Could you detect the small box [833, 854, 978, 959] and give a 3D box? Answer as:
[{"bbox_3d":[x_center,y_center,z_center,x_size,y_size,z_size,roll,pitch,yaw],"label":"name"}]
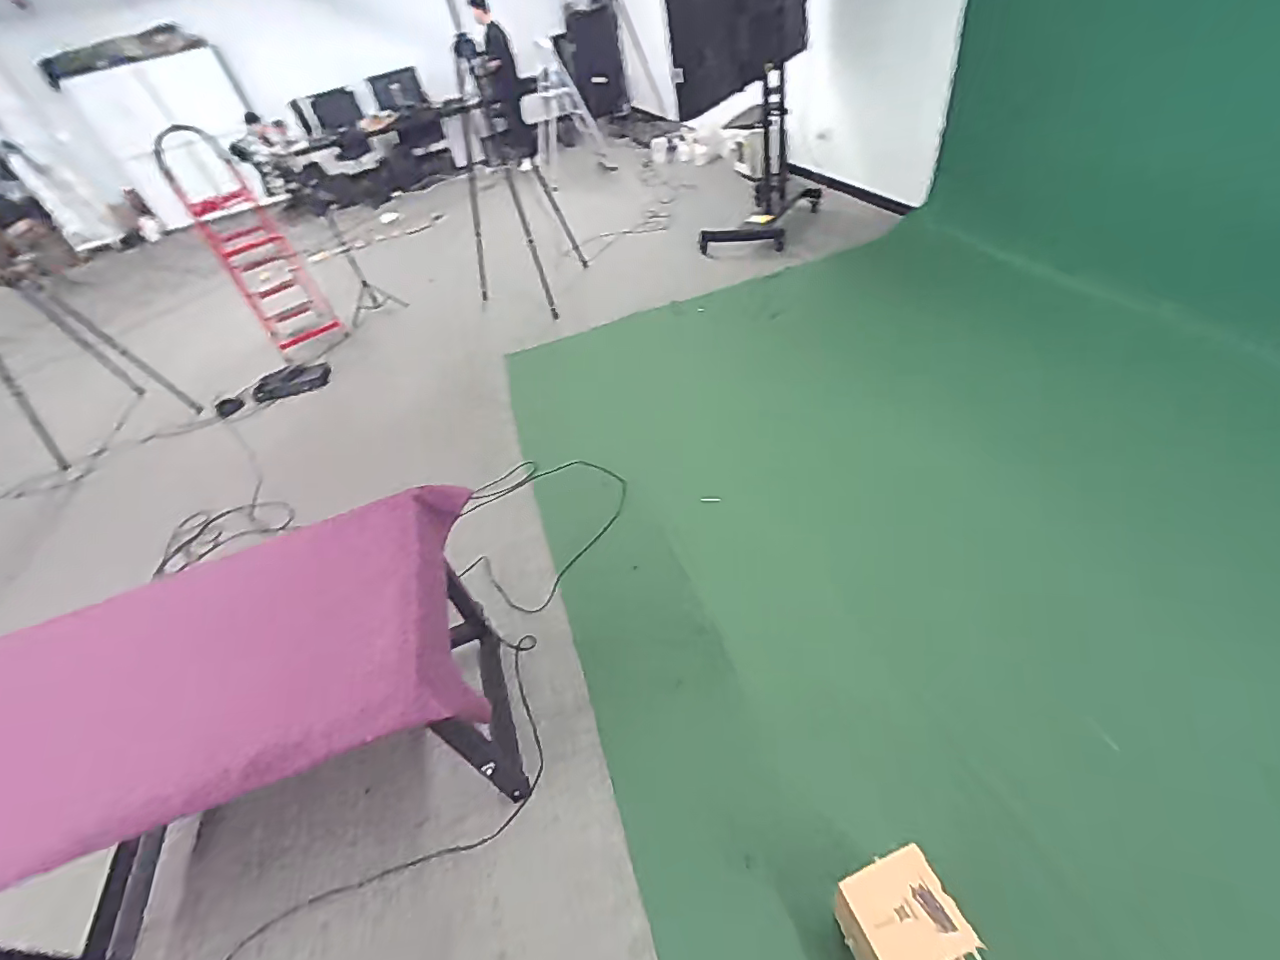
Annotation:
[{"bbox_3d":[0.485,0.850,1.019,0.179,0.176,0.168,-21,42,-8],"label":"small box"}]
